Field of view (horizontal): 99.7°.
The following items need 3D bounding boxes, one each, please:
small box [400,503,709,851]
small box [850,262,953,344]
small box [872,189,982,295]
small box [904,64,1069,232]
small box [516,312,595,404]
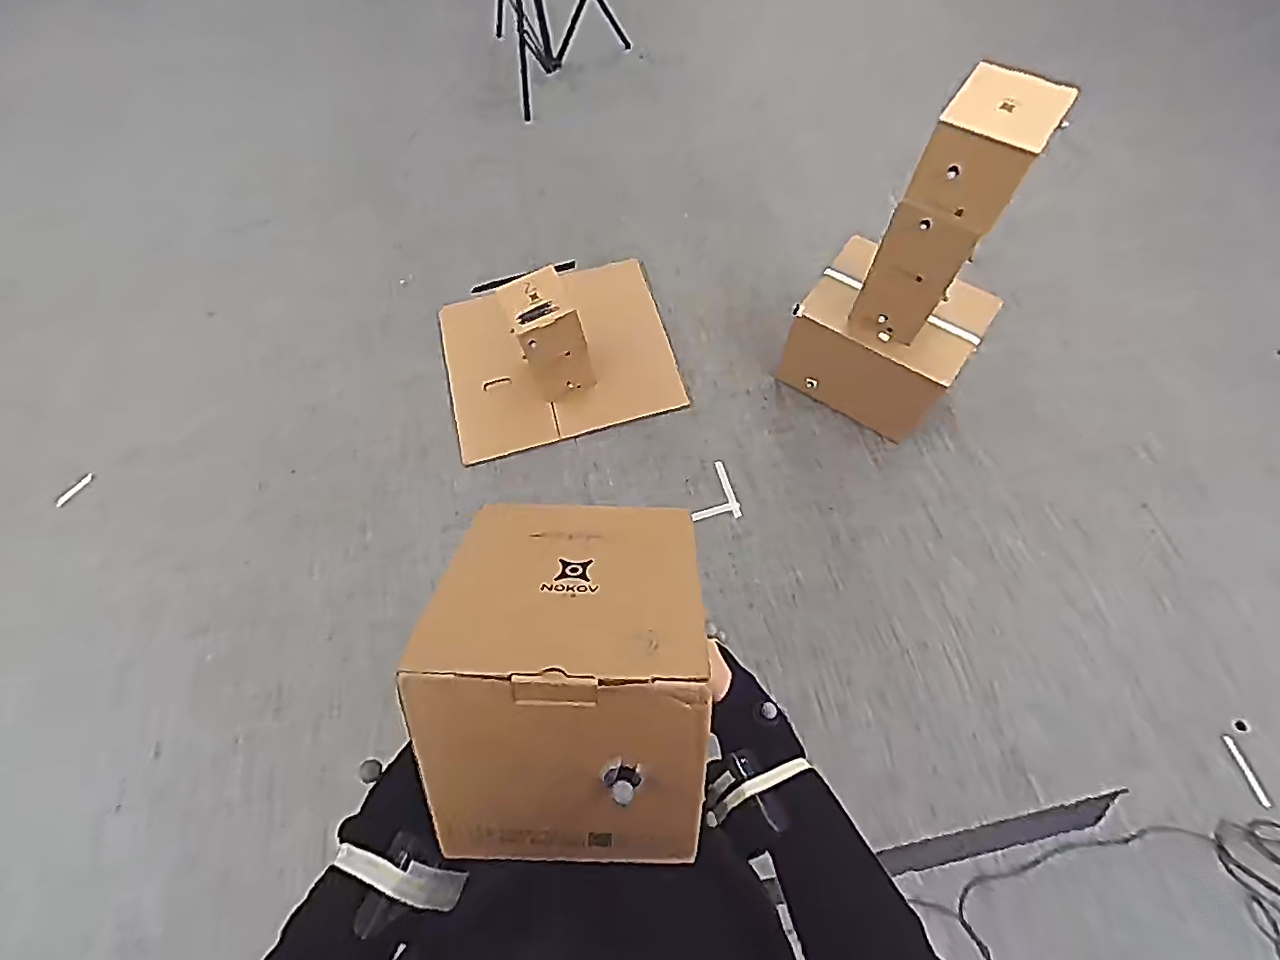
[{"bbox_3d":[-0.043,0.131,0.388,0.168,0.176,0.179,2,26,0],"label":"small box"},{"bbox_3d":[0.619,-0.458,1.266,0.168,0.176,0.179,32,74,16],"label":"small box"},{"bbox_3d":[0.610,-0.524,1.116,0.168,0.176,0.179,32,72,16],"label":"small box"},{"bbox_3d":[0.600,-0.583,0.964,0.168,0.176,0.179,32,73,16],"label":"small box"},{"bbox_3d":[-0.247,-0.359,1.612,0.168,0.176,0.179,-24,68,-4],"label":"small box"}]
